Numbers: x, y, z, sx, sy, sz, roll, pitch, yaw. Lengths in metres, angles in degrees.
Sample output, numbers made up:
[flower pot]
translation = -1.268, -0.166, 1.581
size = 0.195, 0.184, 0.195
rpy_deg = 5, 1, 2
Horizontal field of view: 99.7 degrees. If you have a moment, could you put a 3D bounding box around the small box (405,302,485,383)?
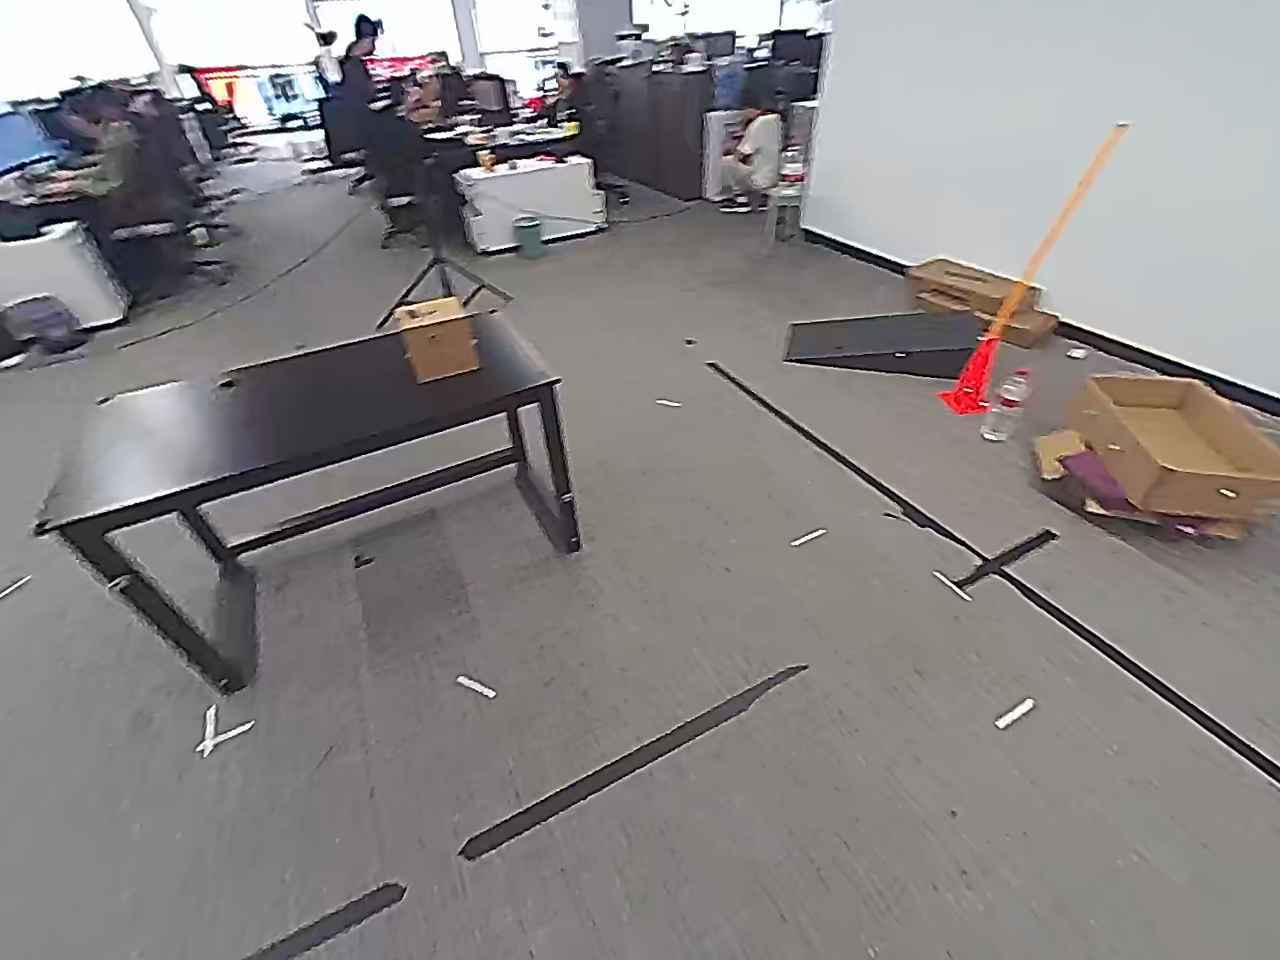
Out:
[small box]
translation = -0.581, -0.410, 1.618
size = 0.179, 0.176, 0.168
rpy_deg = -19, 42, -18
